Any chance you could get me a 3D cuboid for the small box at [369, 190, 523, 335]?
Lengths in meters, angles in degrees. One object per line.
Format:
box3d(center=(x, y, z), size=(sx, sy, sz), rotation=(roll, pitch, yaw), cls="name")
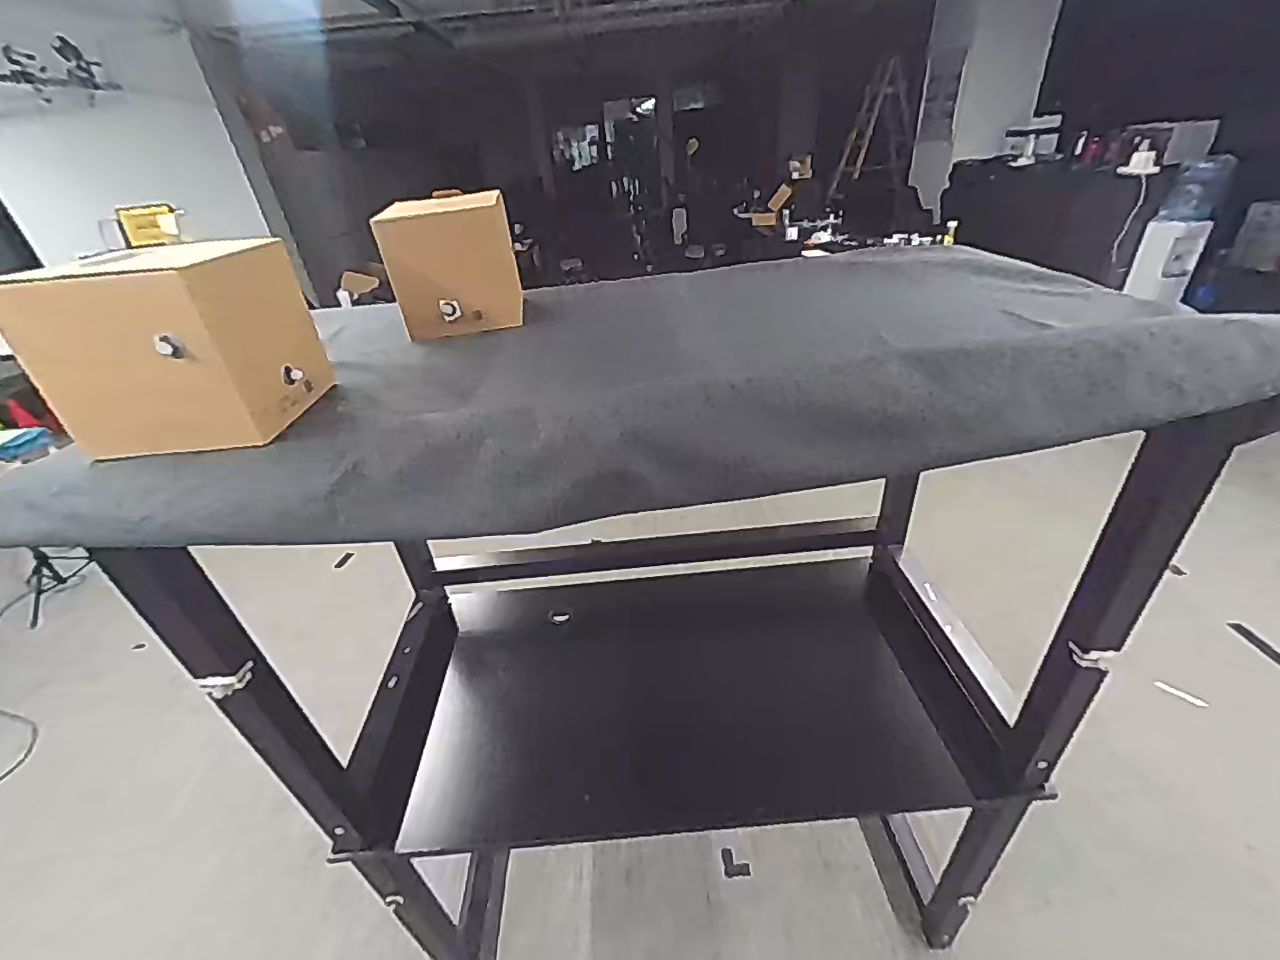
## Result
box3d(center=(-0.277, -0.331, 0.818), size=(0.168, 0.176, 0.179), rotation=(-11, 33, -5), cls="small box")
